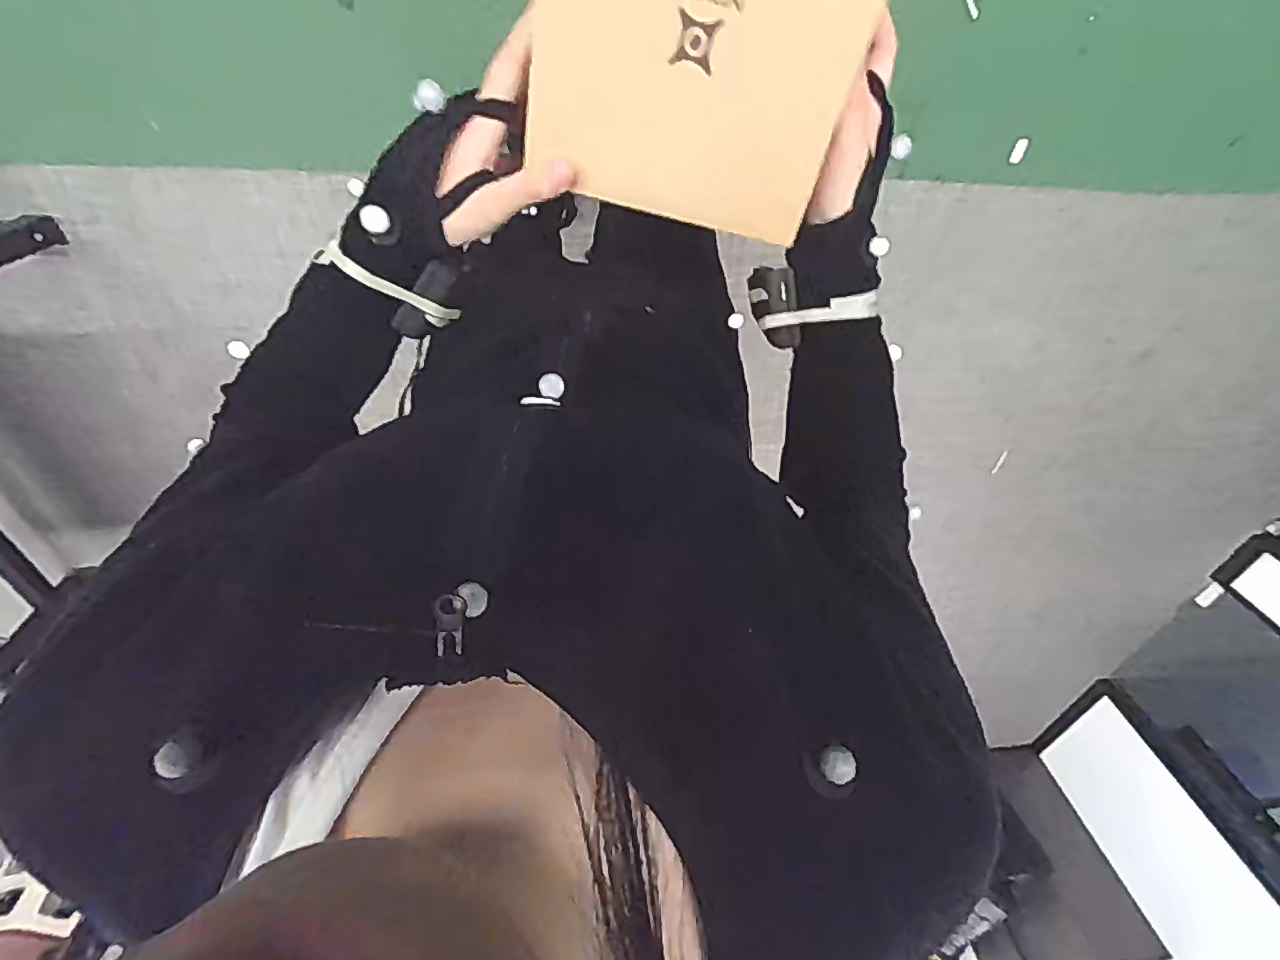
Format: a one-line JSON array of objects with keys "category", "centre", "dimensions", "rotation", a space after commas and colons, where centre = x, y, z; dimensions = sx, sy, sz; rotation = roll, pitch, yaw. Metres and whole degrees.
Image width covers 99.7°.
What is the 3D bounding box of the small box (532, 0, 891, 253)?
[{"category": "small box", "centre": [0.041, -0.273, 0.331], "dimensions": [0.168, 0.176, 0.179], "rotation": [13, 131, -4]}]
